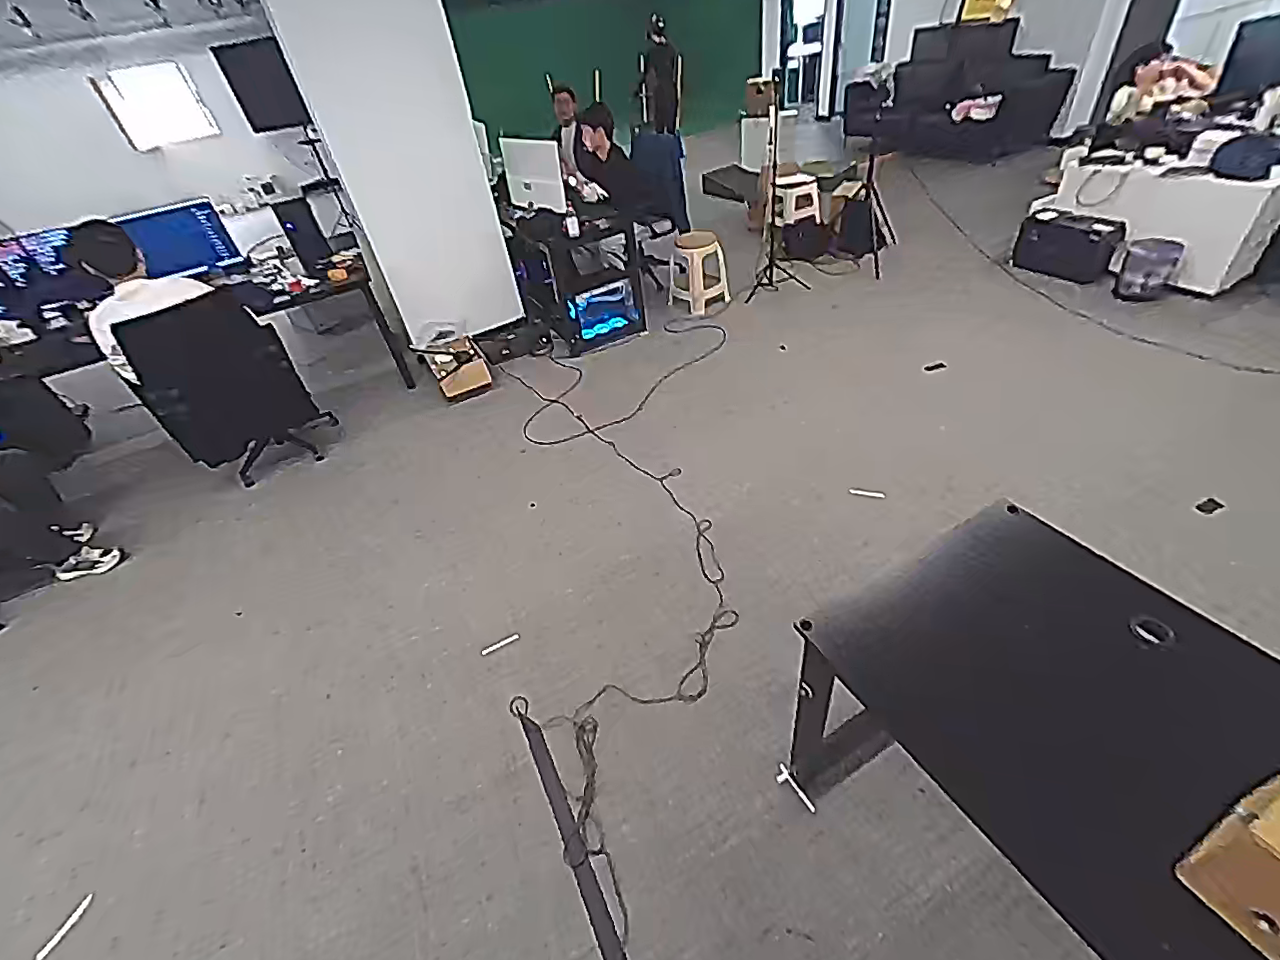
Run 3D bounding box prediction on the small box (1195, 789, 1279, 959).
[{"bbox_3d":[0.803,0.461,0.613,0.179,0.176,0.168,-25,43,-17],"label":"small box"}]
